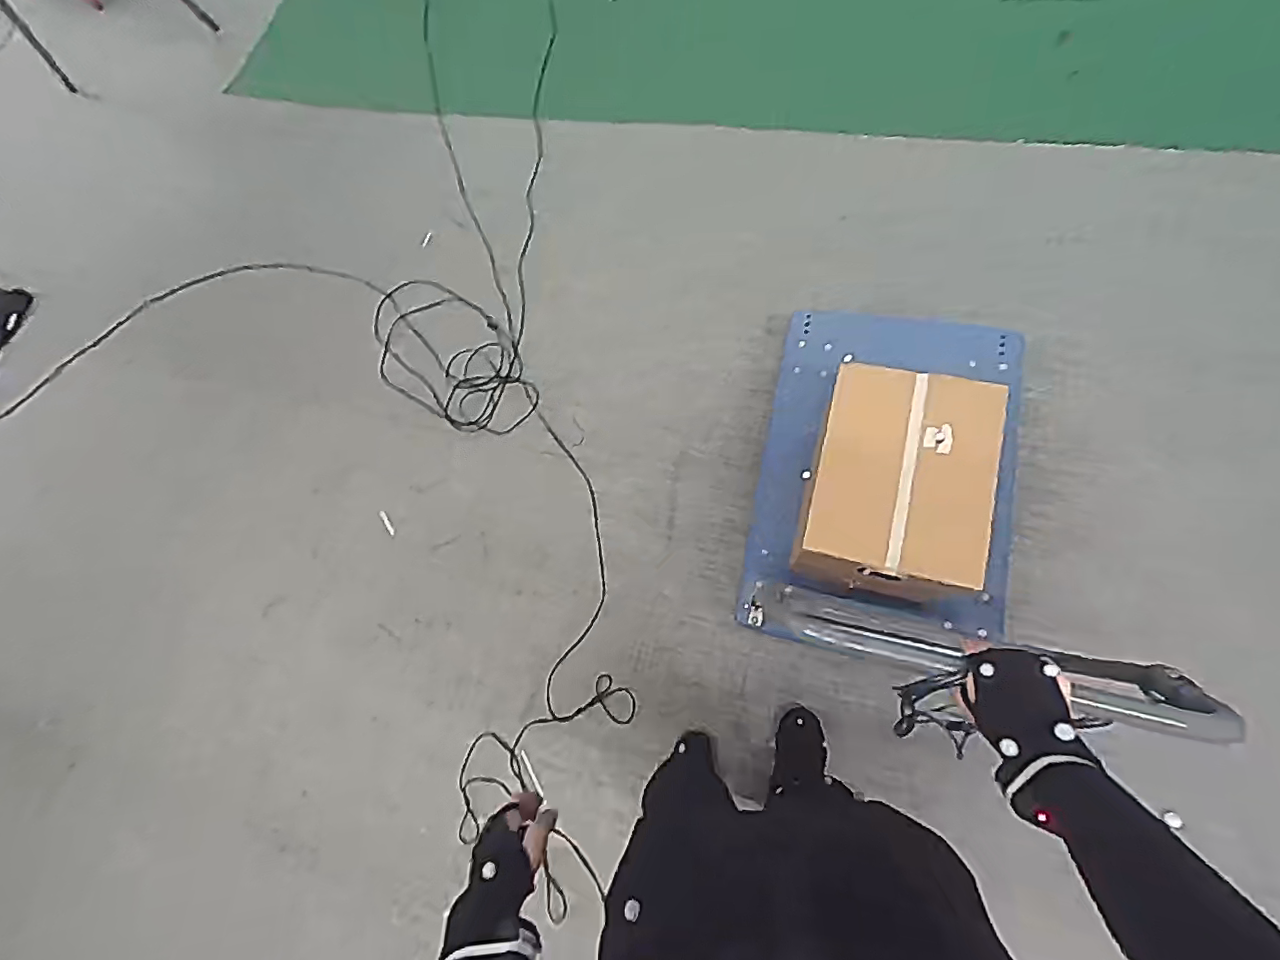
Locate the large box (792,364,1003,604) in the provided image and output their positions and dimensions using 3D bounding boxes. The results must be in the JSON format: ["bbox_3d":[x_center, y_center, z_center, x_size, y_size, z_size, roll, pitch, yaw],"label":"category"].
[{"bbox_3d":[0.526,0.023,1.159,0.320,0.320,0.408,13,75,13],"label":"large box"}]
